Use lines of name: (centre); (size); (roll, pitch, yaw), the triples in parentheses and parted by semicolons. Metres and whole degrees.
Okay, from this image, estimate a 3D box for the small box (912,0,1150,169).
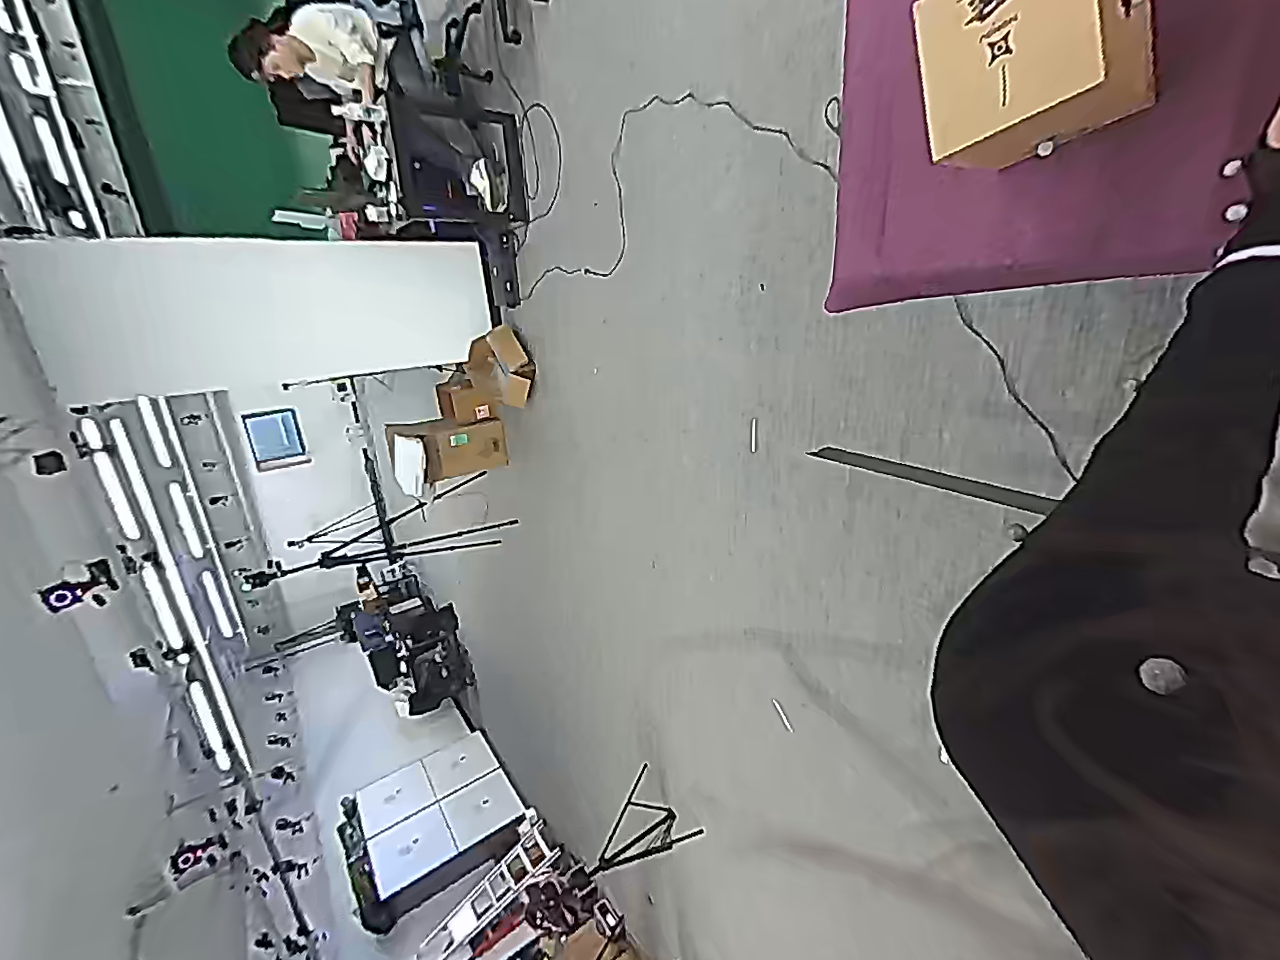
small box: (0.436, -0.475, 0.605); (0.168, 0.176, 0.179); (1, 106, 57)
